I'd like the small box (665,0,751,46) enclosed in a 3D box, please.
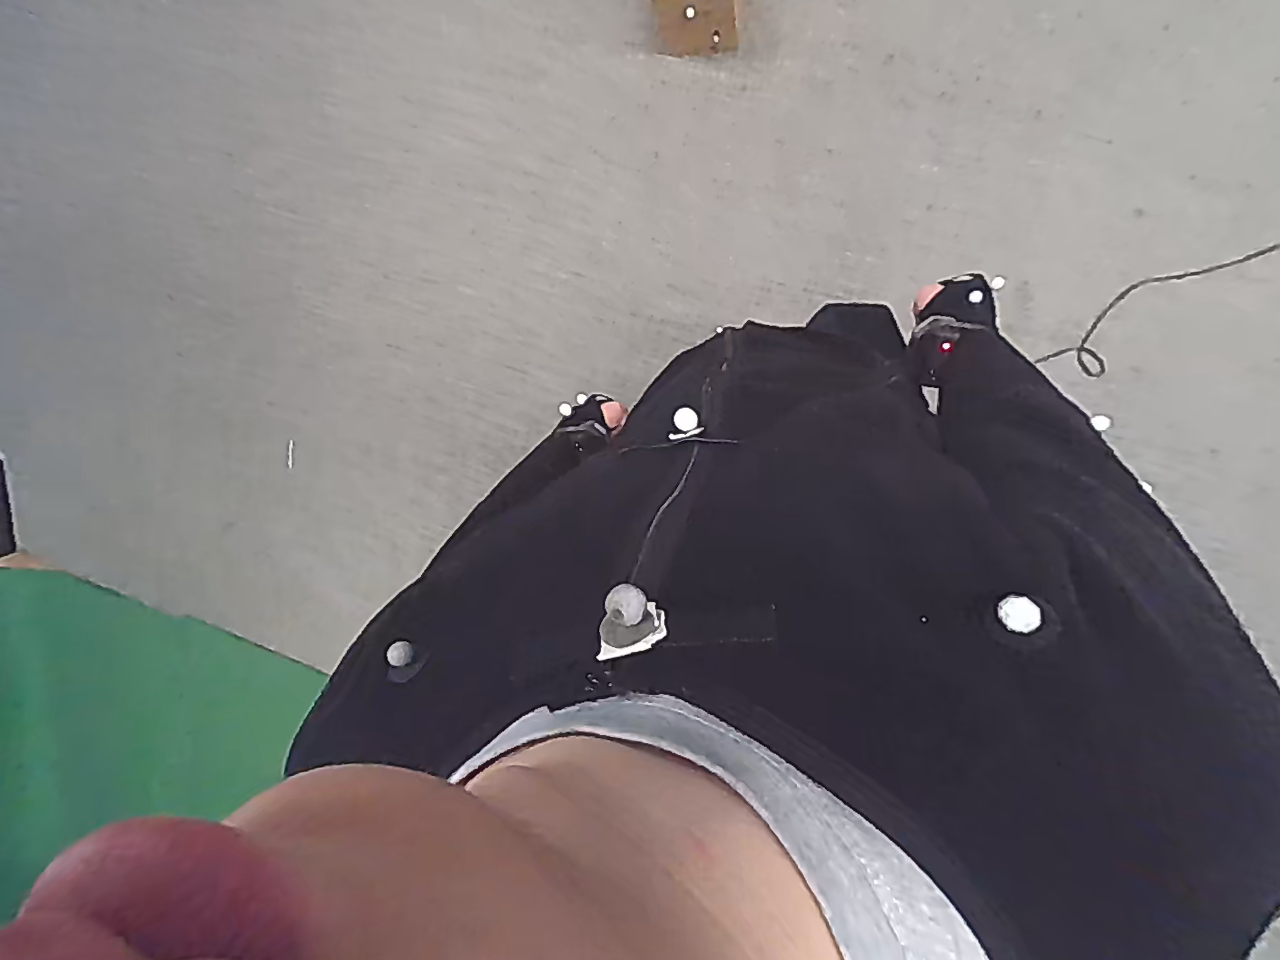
[{"bbox_3d":[0.153,-1.074,1.168,0.168,0.176,0.179,6,106,13],"label":"small box"}]

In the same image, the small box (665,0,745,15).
[{"bbox_3d":[0.117,-1.023,1.015,0.168,0.176,0.179,7,109,13],"label":"small box"}]
